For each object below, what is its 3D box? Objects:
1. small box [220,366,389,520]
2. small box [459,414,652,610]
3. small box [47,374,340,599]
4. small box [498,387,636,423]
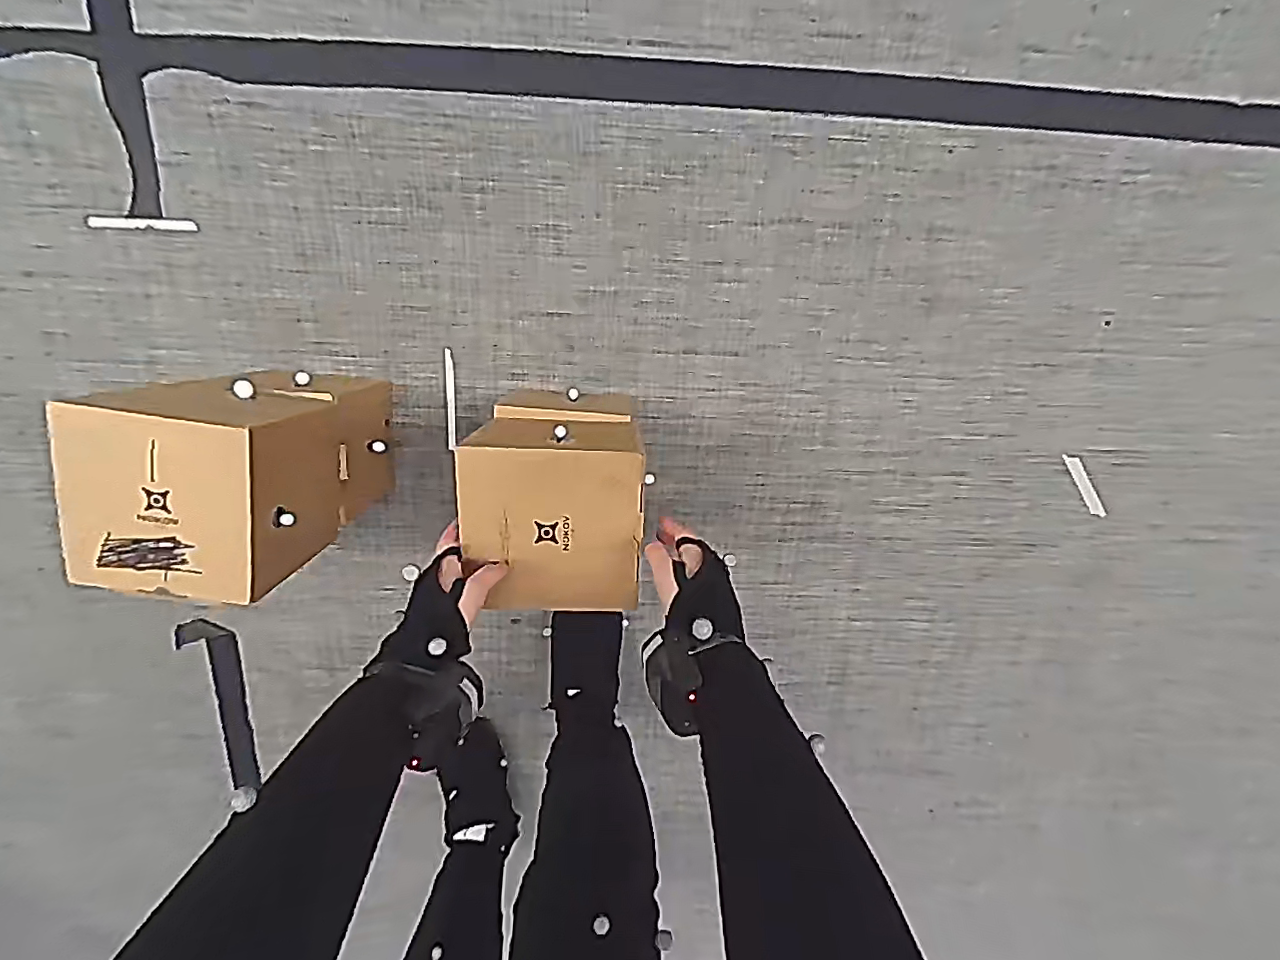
[{"bbox_3d":[-0.445,-0.057,0.715,0.179,0.176,0.168,4,106,-5],"label":"small box"},{"bbox_3d":[-0.084,0.024,0.585,0.179,0.176,0.168,3,106,-3],"label":"small box"},{"bbox_3d":[-0.434,-0.003,0.559,0.168,0.176,0.179,9,105,-6],"label":"small box"},{"bbox_3d":[-0.099,-0.028,0.739,0.168,0.176,0.179,5,107,-4],"label":"small box"}]
